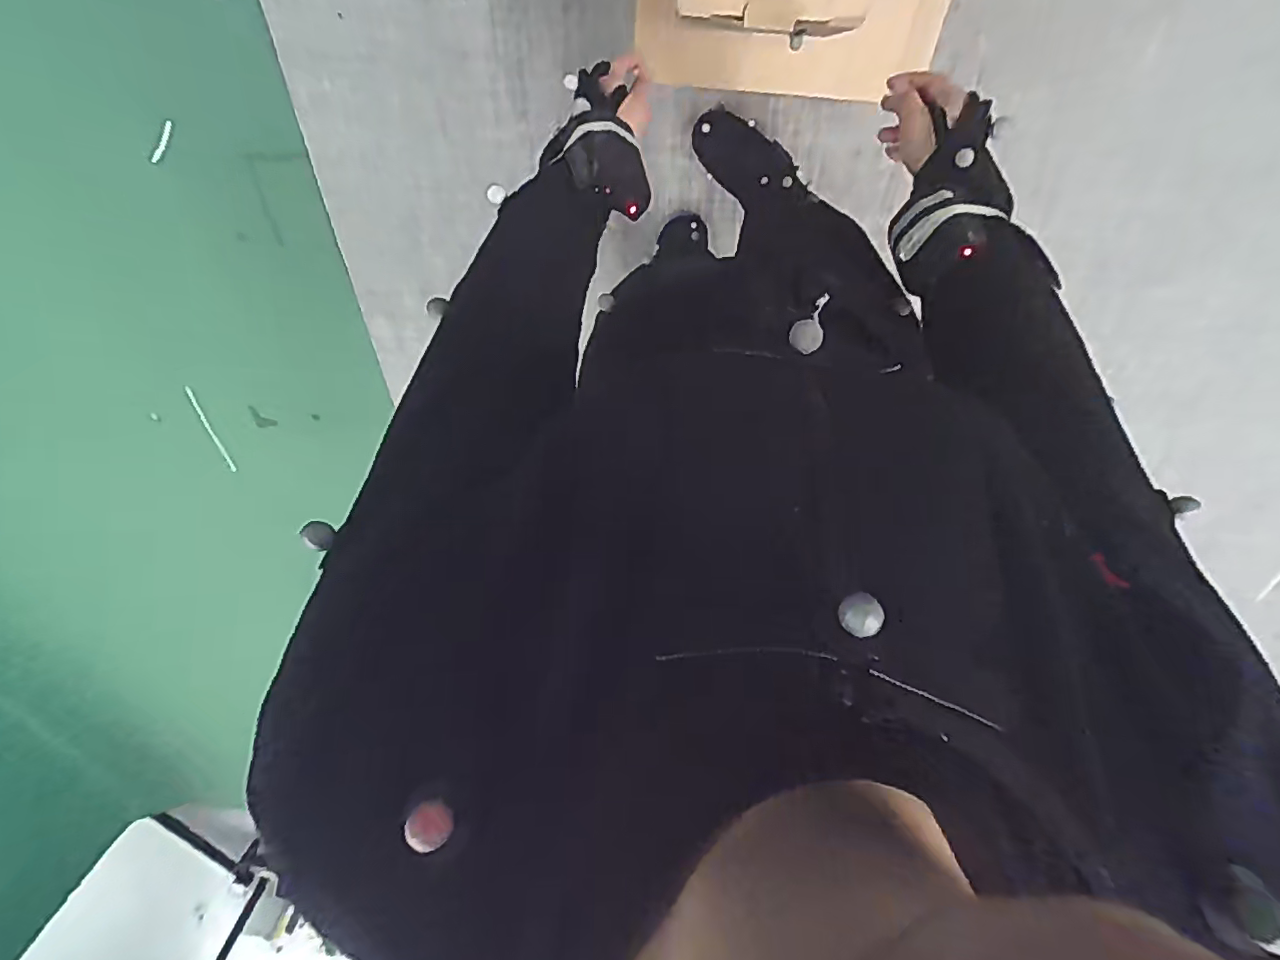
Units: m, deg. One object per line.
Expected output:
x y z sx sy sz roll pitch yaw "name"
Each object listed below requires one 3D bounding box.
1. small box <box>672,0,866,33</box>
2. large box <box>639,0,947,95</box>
0.122 -0.514 0.477 0.168 0.176 0.179 5 127 2 "small box"
0.214 -0.766 0.787 0.408 0.320 0.320 6 129 3 "large box"
